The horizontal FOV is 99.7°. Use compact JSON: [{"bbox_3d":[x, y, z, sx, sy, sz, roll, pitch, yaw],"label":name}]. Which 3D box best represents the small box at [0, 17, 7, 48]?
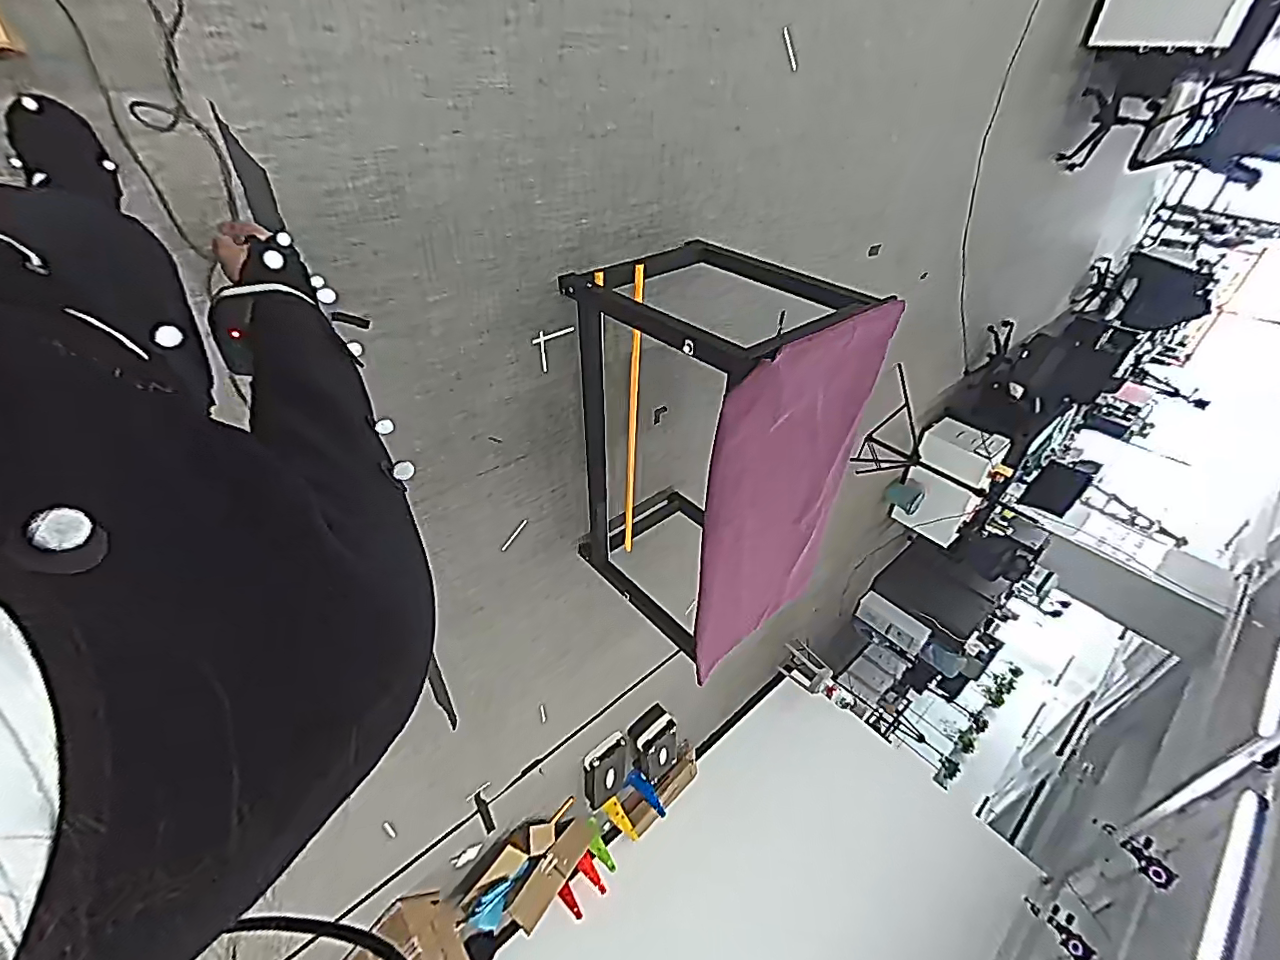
[{"bbox_3d":[-0.799,-0.550,0.542,0.168,0.176,0.179,-27,136,-32],"label":"small box"}]
